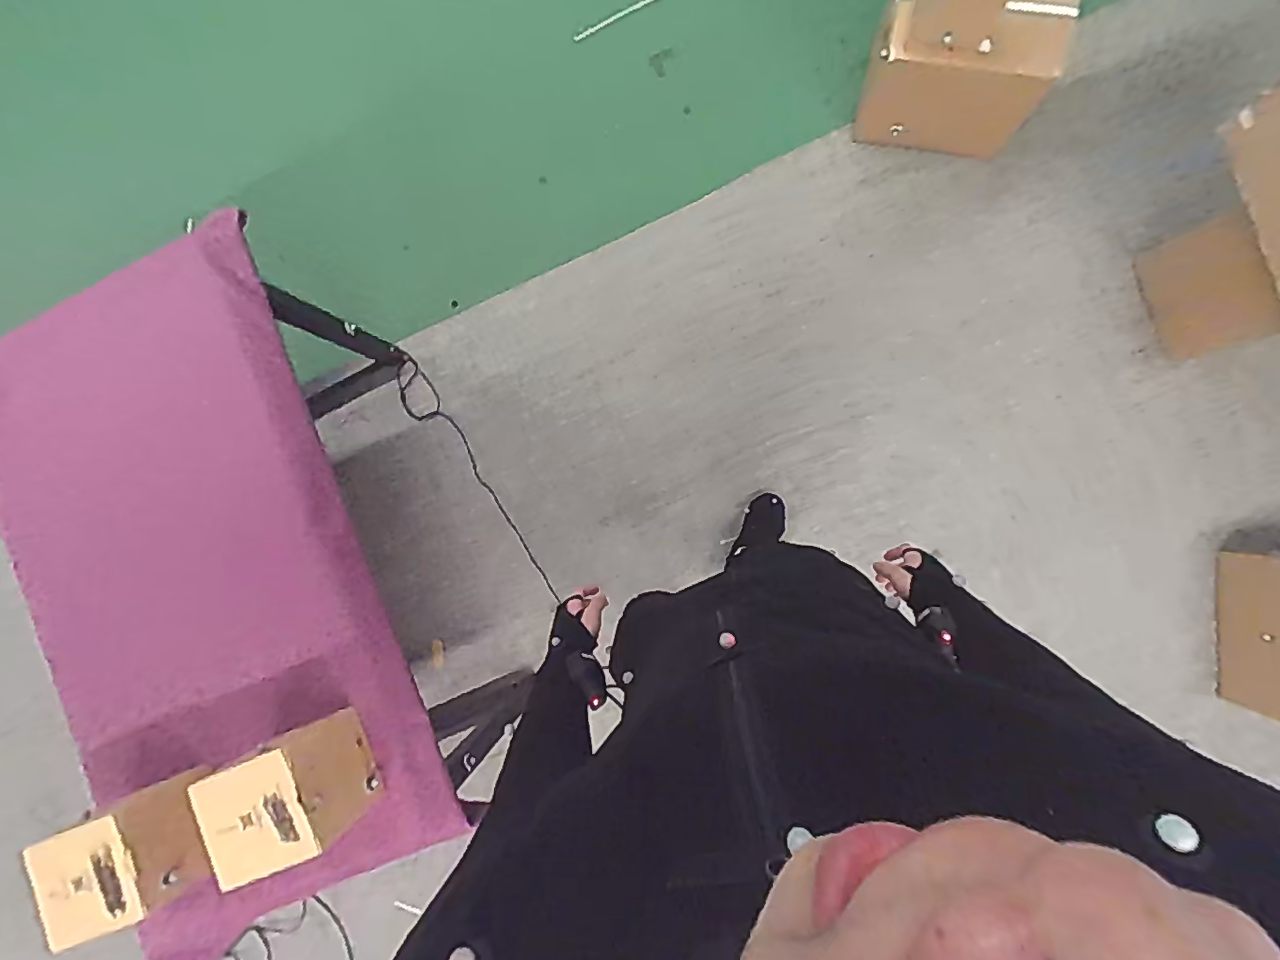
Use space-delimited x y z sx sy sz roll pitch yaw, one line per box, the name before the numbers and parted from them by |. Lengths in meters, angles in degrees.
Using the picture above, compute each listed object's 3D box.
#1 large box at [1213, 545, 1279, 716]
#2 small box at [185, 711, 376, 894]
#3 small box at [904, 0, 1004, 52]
large box | 1.692 0.369 1.296 0.320 0.320 0.408 0 87 6
small box | -0.558 0.503 0.870 0.179 0.176 0.168 -24 85 6
small box | 0.712 -1.111 1.201 0.168 0.176 0.179 11 91 7
